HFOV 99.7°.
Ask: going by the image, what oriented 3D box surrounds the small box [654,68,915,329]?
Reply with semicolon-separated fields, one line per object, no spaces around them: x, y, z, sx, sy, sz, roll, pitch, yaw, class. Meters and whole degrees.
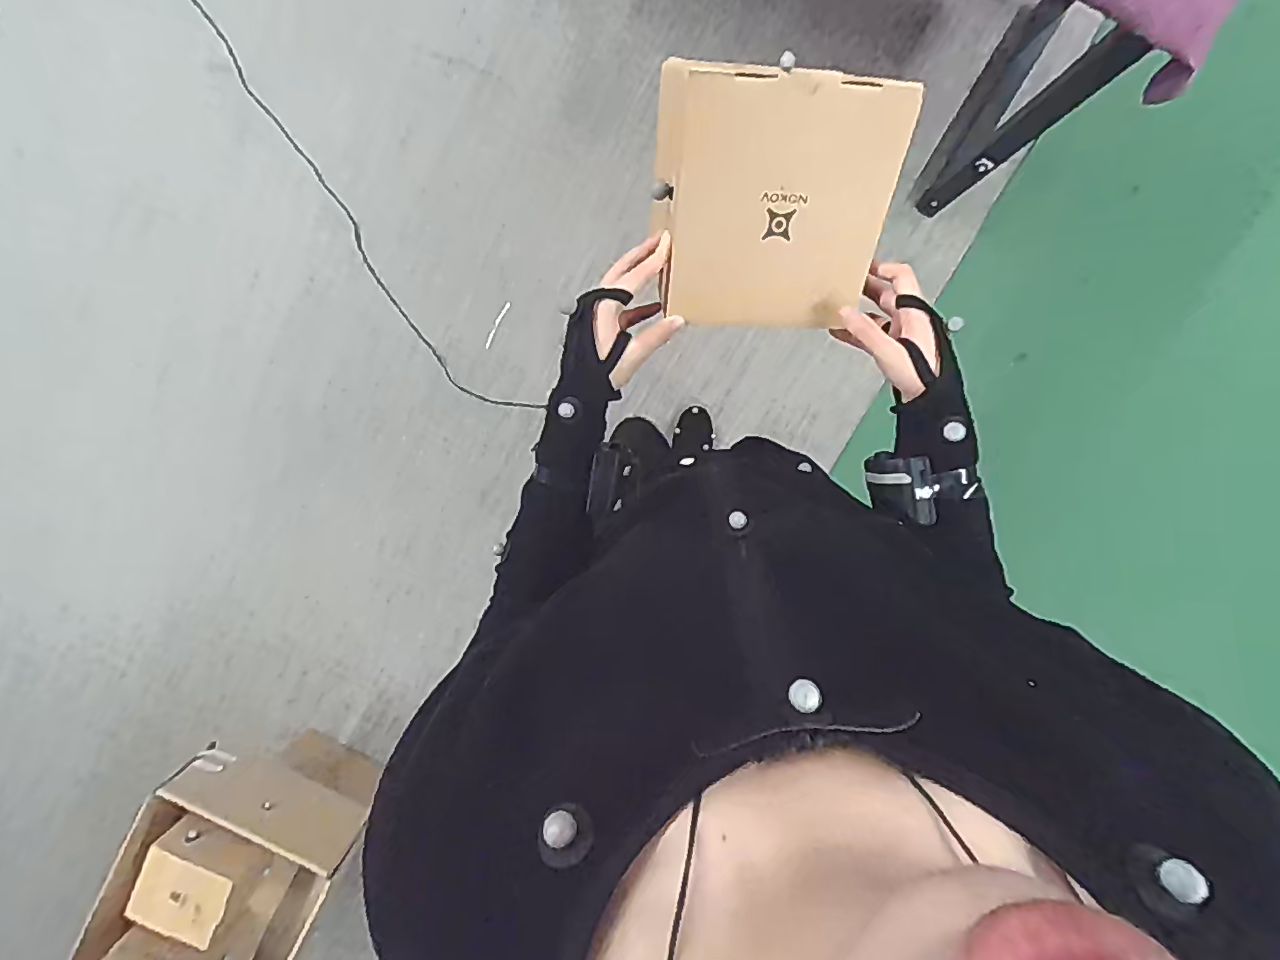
0.103;-0.252;0.482;0.168;0.176;0.179;1;126;-4;small box
